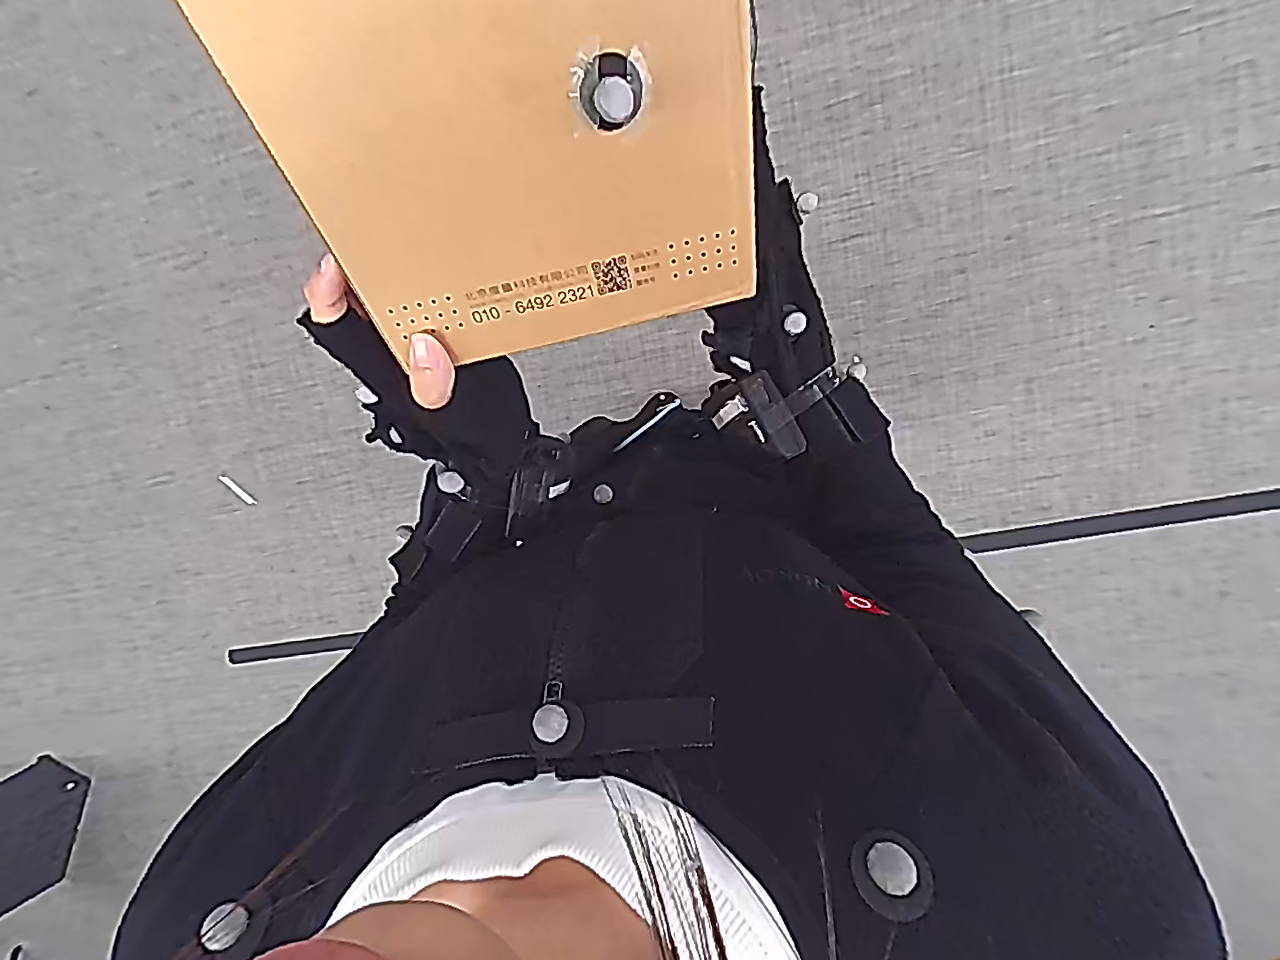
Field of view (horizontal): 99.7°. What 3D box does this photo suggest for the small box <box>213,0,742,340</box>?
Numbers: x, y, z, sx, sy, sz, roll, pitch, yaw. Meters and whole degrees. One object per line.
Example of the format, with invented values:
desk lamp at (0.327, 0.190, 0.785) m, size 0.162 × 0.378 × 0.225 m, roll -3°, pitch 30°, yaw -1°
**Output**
small box at (-0.050, -0.186, 0.265) m, size 0.168 × 0.179 × 0.176 m, roll -11°, pitch 137°, yaw 4°
